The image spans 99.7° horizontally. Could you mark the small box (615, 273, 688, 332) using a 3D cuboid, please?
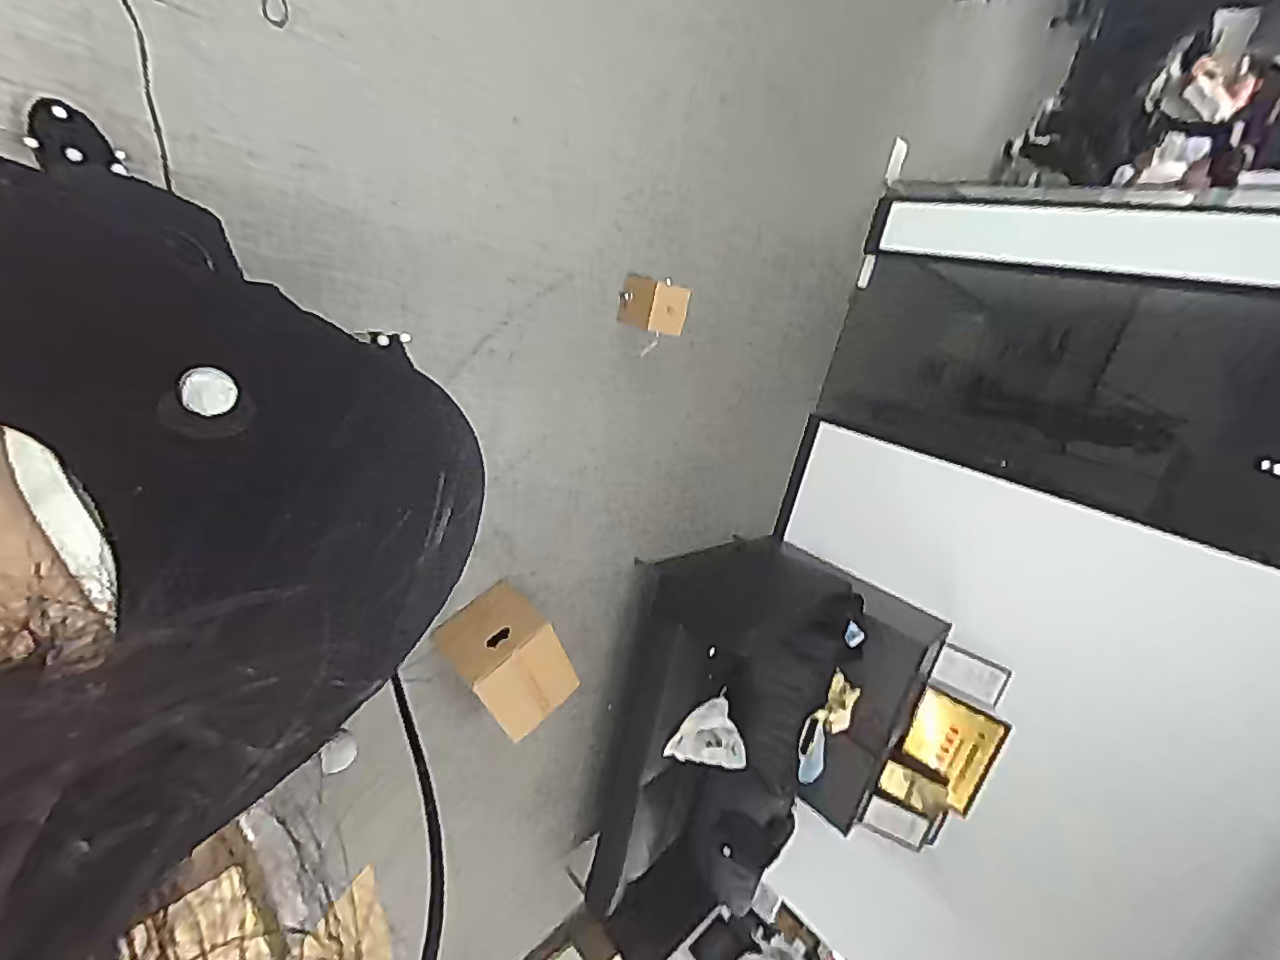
[{"bbox_3d":[0.038,-0.638,1.938,0.179,0.176,0.168,-5,114,-45],"label":"small box"}]
